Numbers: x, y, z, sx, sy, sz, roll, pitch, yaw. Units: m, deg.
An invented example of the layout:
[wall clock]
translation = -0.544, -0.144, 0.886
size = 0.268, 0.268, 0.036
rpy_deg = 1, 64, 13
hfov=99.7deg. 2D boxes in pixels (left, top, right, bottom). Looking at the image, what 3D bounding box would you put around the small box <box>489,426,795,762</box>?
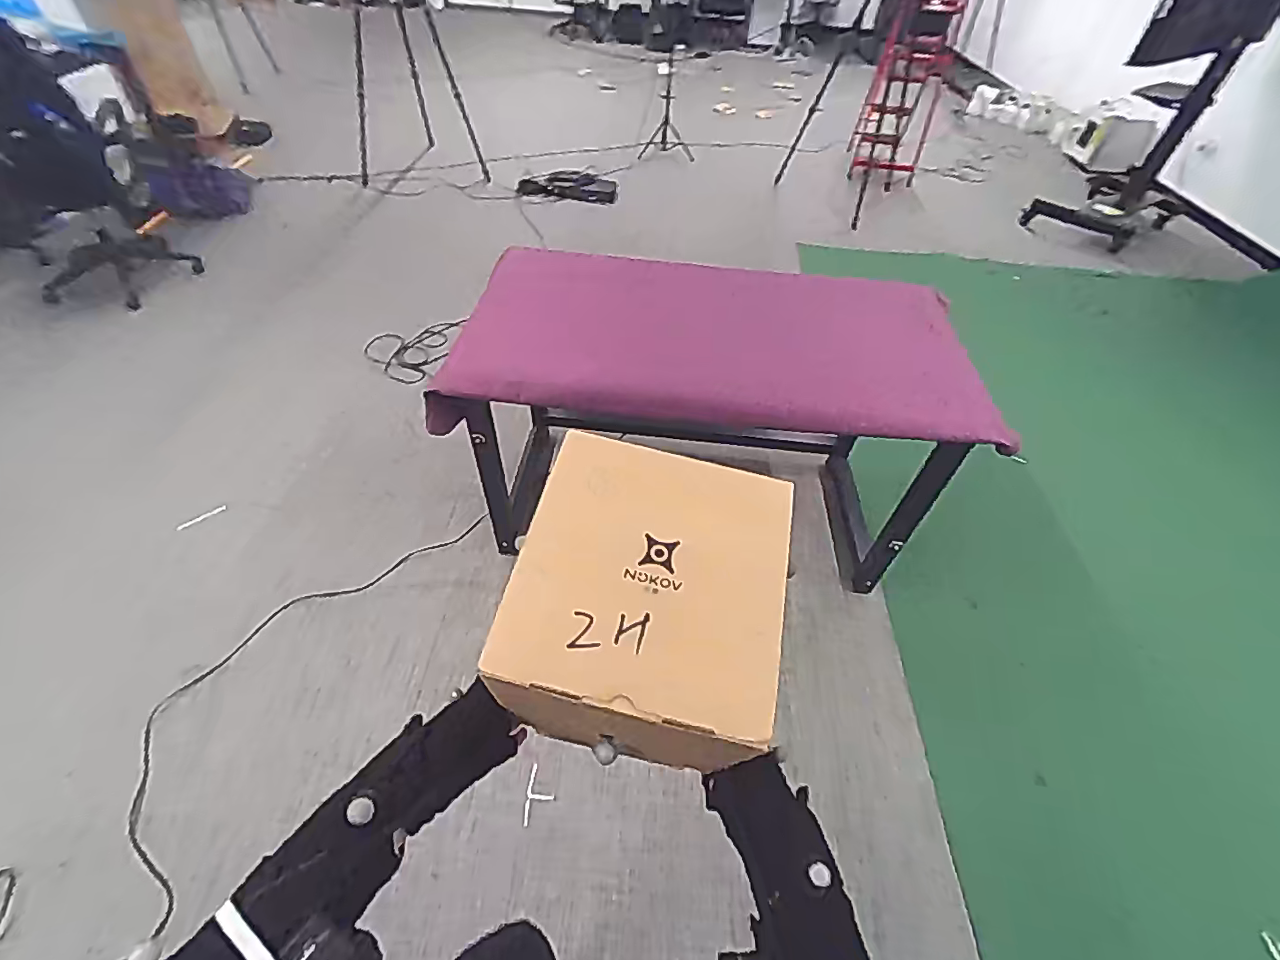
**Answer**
[small box]
translation = 0.004, 0.092, 0.405
size = 0.168, 0.176, 0.179
rpy_deg = 14, 58, 2
